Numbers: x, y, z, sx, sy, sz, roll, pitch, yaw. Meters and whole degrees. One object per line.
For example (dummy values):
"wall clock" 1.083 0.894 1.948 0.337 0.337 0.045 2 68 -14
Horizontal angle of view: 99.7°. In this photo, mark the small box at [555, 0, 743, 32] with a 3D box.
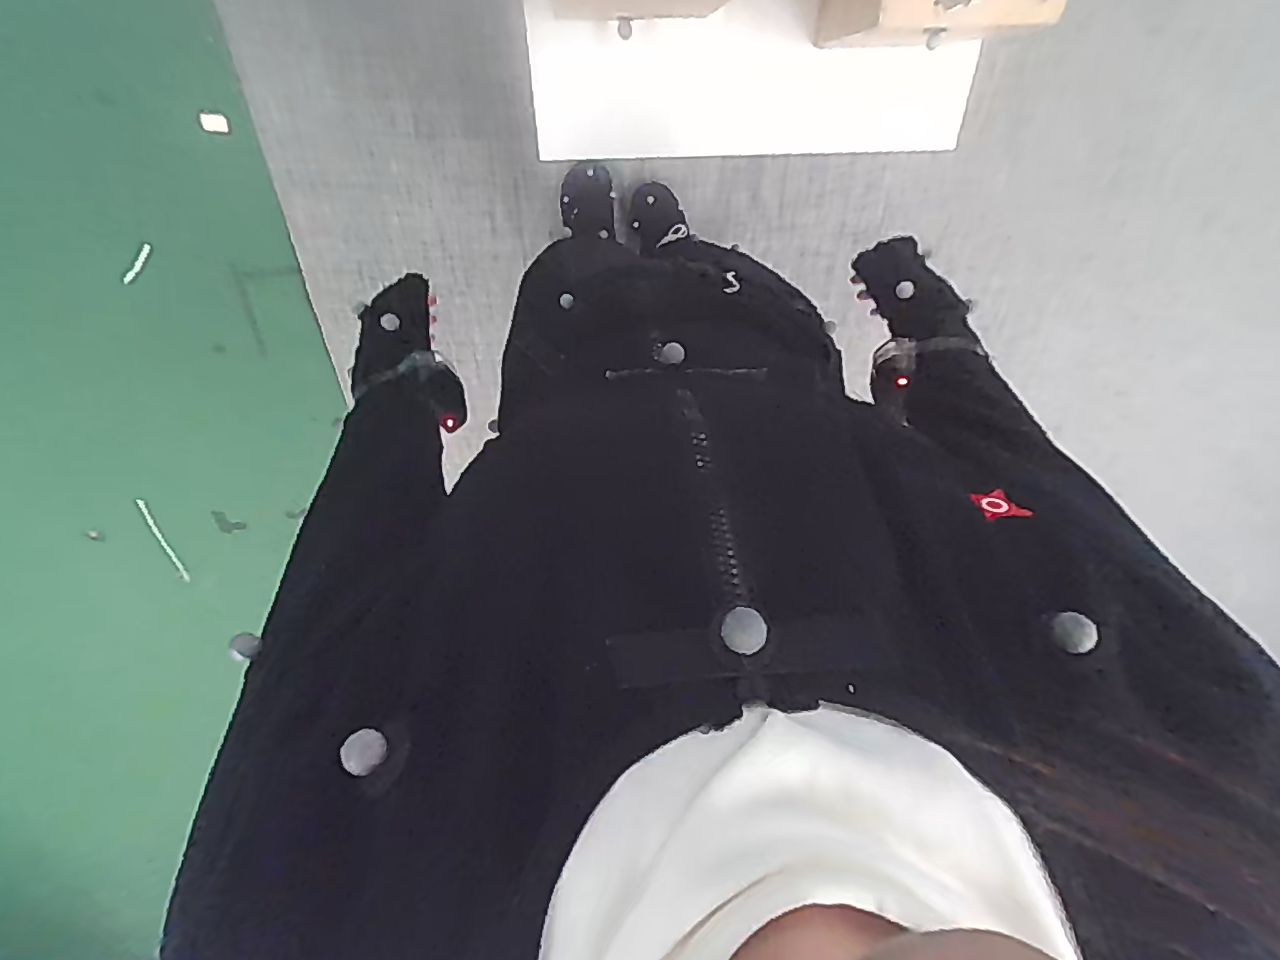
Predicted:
"small box" 0.000 -0.511 0.465 0.168 0.176 0.179 -5 126 -1

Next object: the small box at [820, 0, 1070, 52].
"small box" 0.277 -0.507 0.486 0.168 0.176 0.179 -4 124 -2
